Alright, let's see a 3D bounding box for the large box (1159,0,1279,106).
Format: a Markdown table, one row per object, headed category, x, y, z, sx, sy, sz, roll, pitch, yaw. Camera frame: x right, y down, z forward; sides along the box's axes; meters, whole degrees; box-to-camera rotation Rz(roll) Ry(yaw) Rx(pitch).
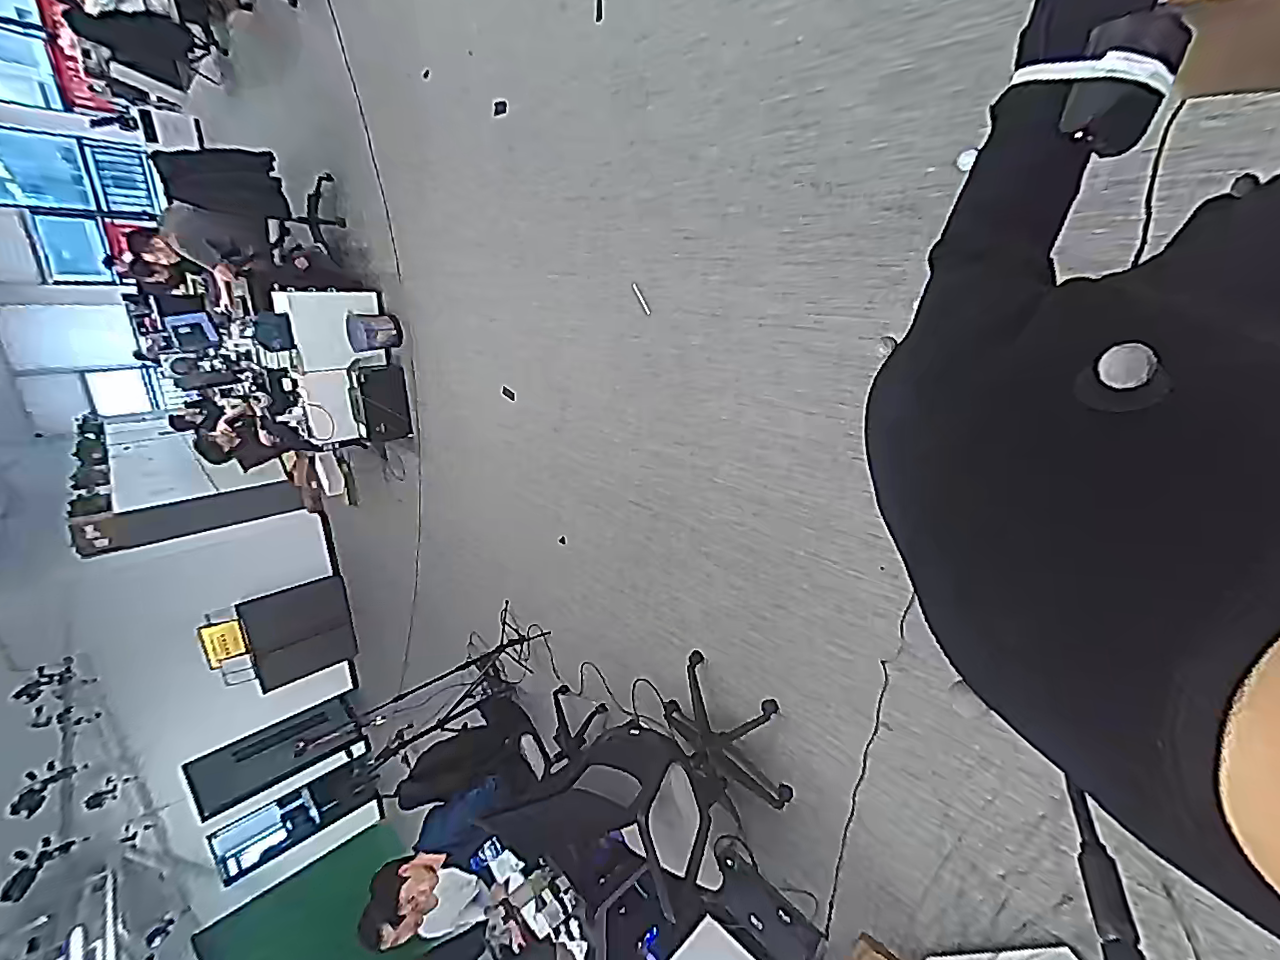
| category | x | y | z | sx | sy | sz | roll | pitch | yaw |
| --- | --- | --- | --- | --- | --- | --- | --- | --- | --- |
| large box | 0.587 | -0.423 | 0.270 | 0.408 | 0.320 | 0.320 | 24 | 123 | 39 |
